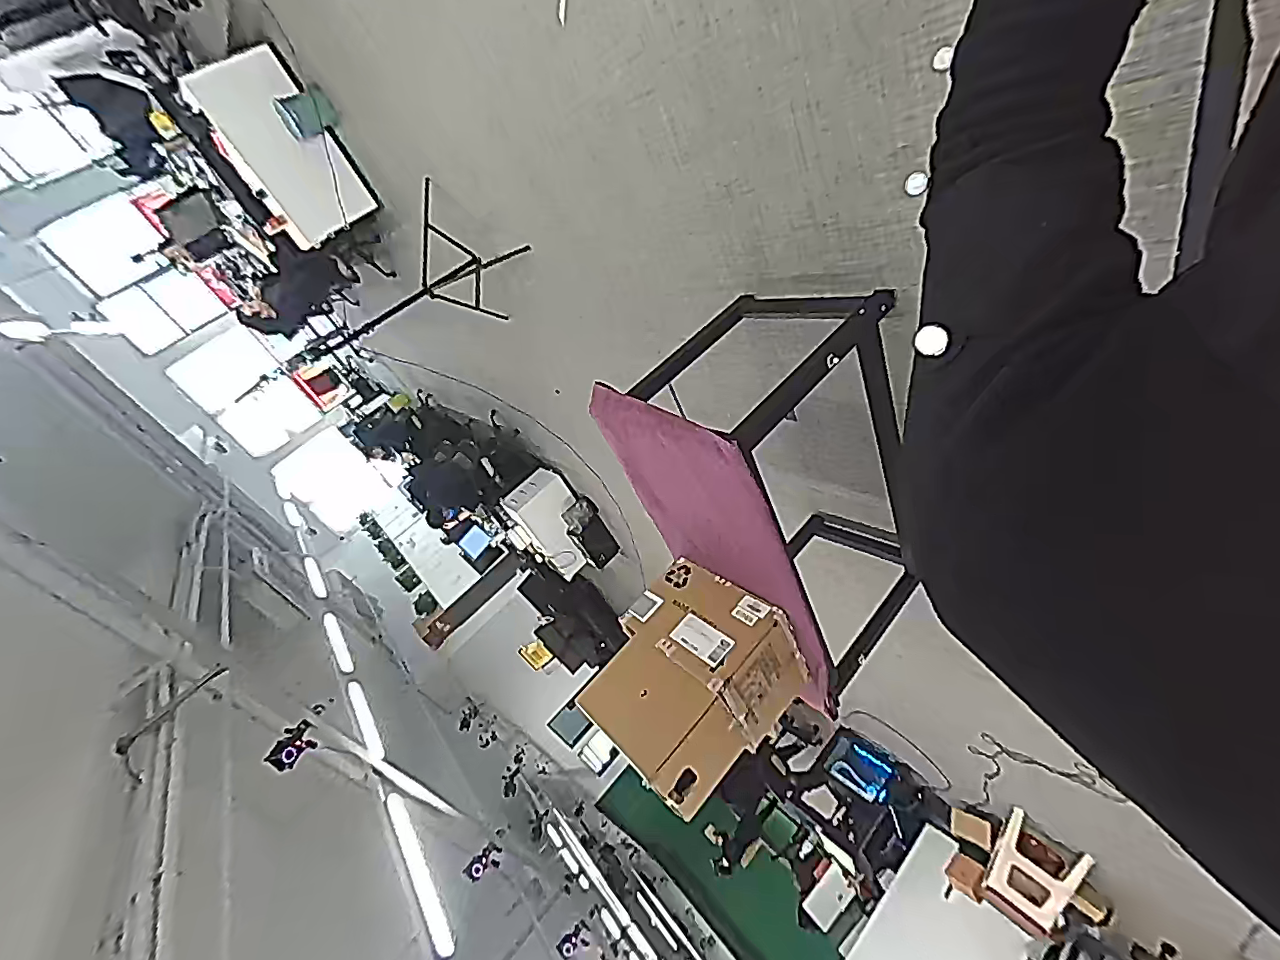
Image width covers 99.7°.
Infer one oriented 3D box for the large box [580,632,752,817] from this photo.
[{"bbox_3d":[0.082,0.765,1.747,0.408,0.320,0.320,21,149,50],"label":"large box"}]
